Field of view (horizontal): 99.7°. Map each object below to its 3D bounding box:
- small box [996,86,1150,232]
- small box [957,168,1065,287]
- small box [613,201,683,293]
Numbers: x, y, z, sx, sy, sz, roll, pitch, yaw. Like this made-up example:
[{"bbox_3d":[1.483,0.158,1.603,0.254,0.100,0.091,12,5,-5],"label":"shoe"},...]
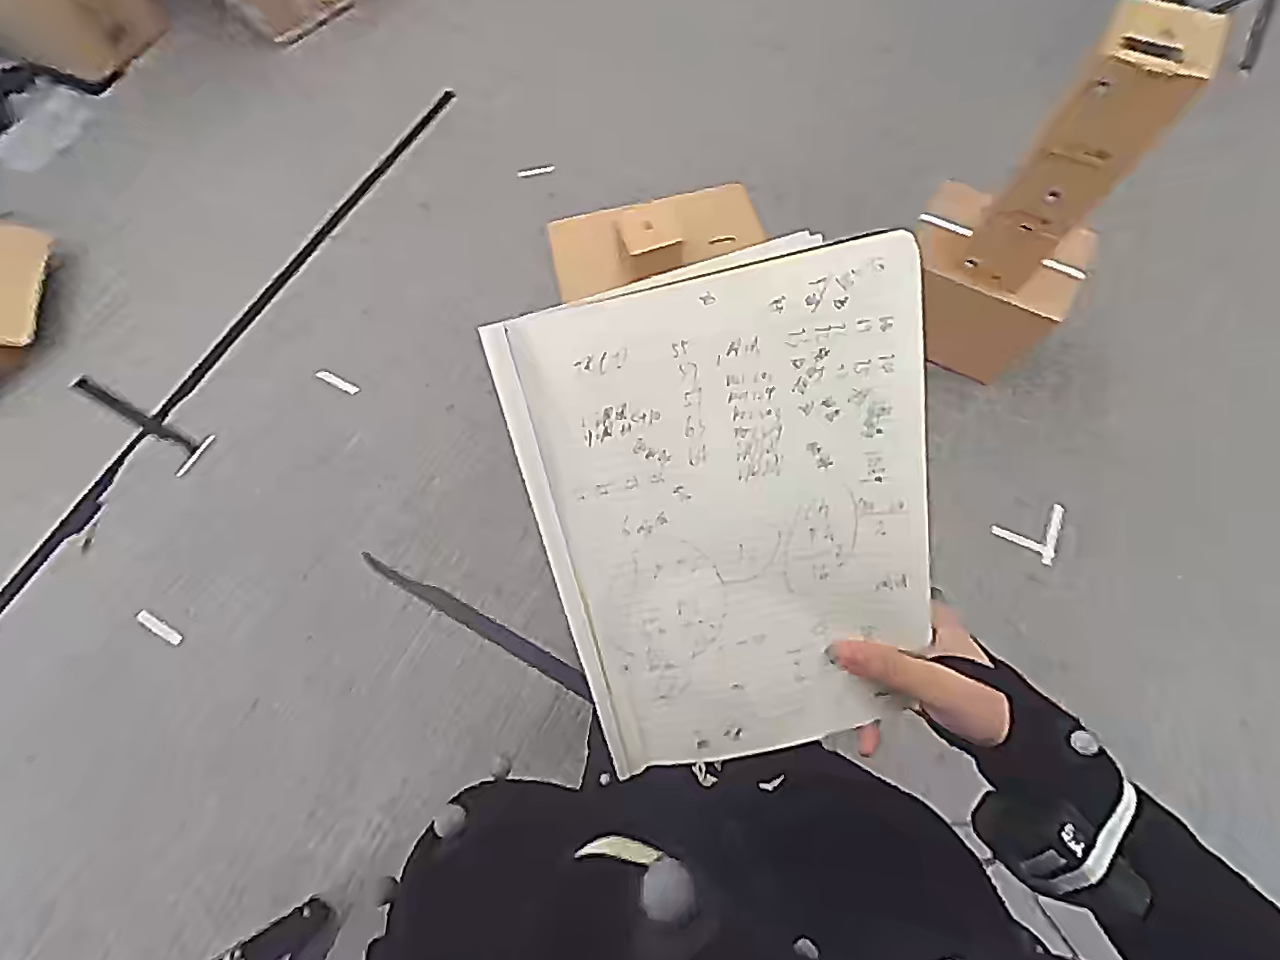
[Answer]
[{"bbox_3d":[0.879,-0.654,1.117,0.168,0.176,0.179,28,75,12],"label":"small box"},{"bbox_3d":[0.882,-0.591,1.269,0.168,0.176,0.179,31,74,13],"label":"small box"},{"bbox_3d":[0.024,-0.717,1.673,0.168,0.176,0.179,-20,72,-5],"label":"small box"}]
